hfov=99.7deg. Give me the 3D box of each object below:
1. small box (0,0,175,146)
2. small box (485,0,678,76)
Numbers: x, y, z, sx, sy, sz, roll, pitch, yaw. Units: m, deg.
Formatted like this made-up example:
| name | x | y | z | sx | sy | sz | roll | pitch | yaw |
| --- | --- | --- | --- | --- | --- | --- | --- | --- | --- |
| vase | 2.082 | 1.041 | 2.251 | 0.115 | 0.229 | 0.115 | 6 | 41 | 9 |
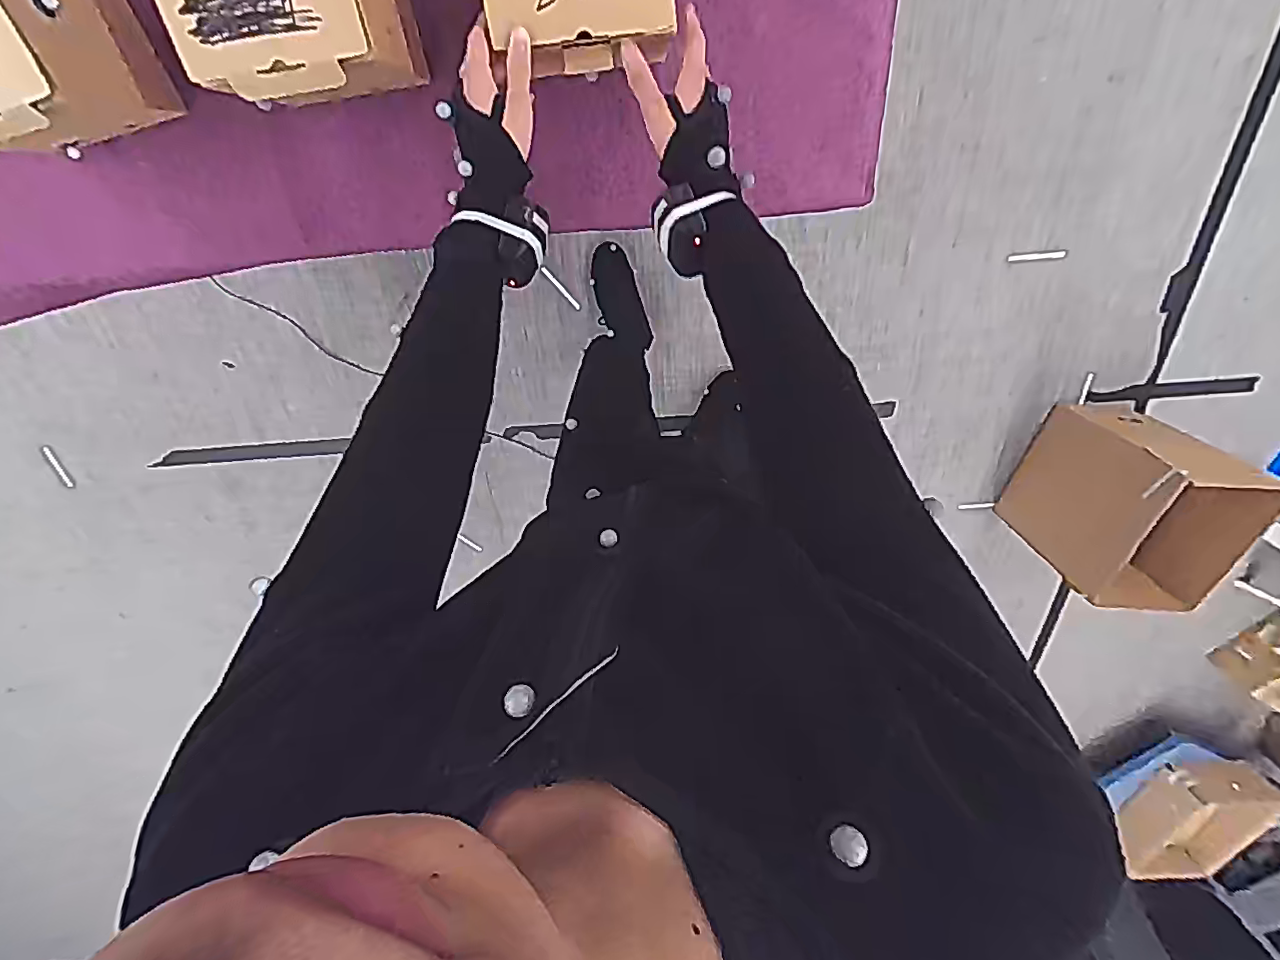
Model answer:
| name | x | y | z | sx | sy | sz | roll | pitch | yaw |
| --- | --- | --- | --- | --- | --- | --- | --- | --- | --- |
| small box | -0.612 | -0.432 | 0.510 | 0.168 | 0.176 | 0.179 | -13 | 119 | 5 |
| small box | -0.058 | -0.498 | 0.495 | 0.168 | 0.176 | 0.179 | -6 | 121 | 2 |
